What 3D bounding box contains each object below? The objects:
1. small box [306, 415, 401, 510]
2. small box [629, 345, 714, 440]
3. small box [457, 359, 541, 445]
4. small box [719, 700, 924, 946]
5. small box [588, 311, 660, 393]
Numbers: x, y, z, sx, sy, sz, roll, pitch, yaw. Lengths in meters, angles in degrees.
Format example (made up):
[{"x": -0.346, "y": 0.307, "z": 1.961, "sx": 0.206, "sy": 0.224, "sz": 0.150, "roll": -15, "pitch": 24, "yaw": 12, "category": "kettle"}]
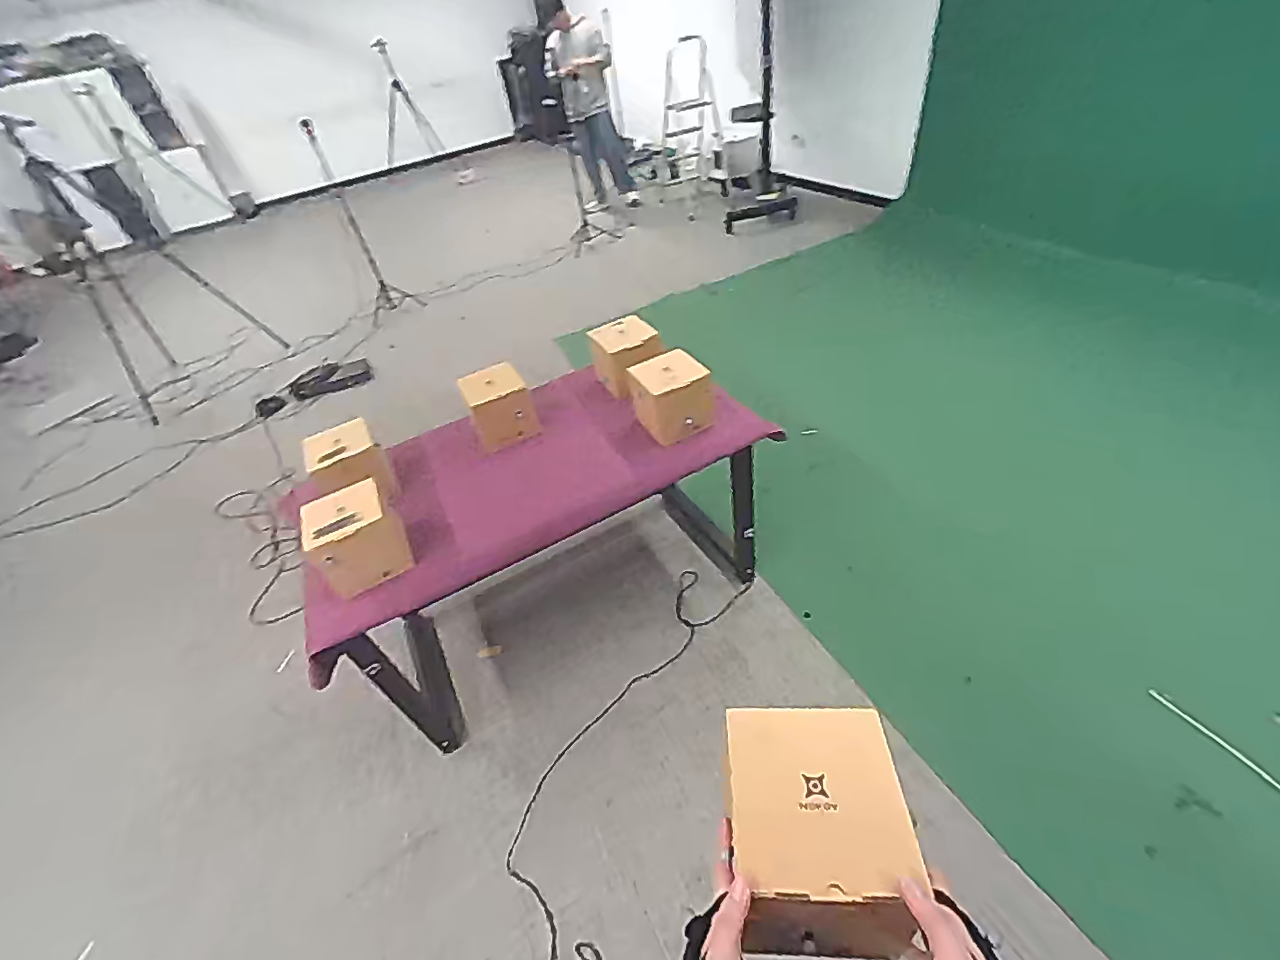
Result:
[{"x": -0.774, "y": -0.041, "z": 1.469, "sx": 0.168, "sy": 0.176, "sz": 0.179, "roll": -27, "pitch": 44, "yaw": -16, "category": "small box"}, {"x": 0.087, "y": -0.238, "z": 1.479, "sx": 0.168, "sy": 0.176, "sz": 0.179, "roll": -25, "pitch": 43, "yaw": -11, "category": "small box"}, {"x": -0.408, "y": -0.222, "z": 1.583, "sx": 0.168, "sy": 0.176, "sz": 0.179, "roll": -26, "pitch": 44, "yaw": -15, "category": "small box"}, {"x": 0.172, "y": 0.361, "z": 0.580, "sx": 0.168, "sy": 0.176, "sz": 0.179, "roll": -3, "pitch": 38, "yaw": 5, "category": "small box"}, {"x": -0.039, "y": -0.391, "z": 1.677, "sx": 0.168, "sy": 0.176, "sz": 0.179, "roll": -25, "pitch": 45, "yaw": -14, "category": "small box"}]
